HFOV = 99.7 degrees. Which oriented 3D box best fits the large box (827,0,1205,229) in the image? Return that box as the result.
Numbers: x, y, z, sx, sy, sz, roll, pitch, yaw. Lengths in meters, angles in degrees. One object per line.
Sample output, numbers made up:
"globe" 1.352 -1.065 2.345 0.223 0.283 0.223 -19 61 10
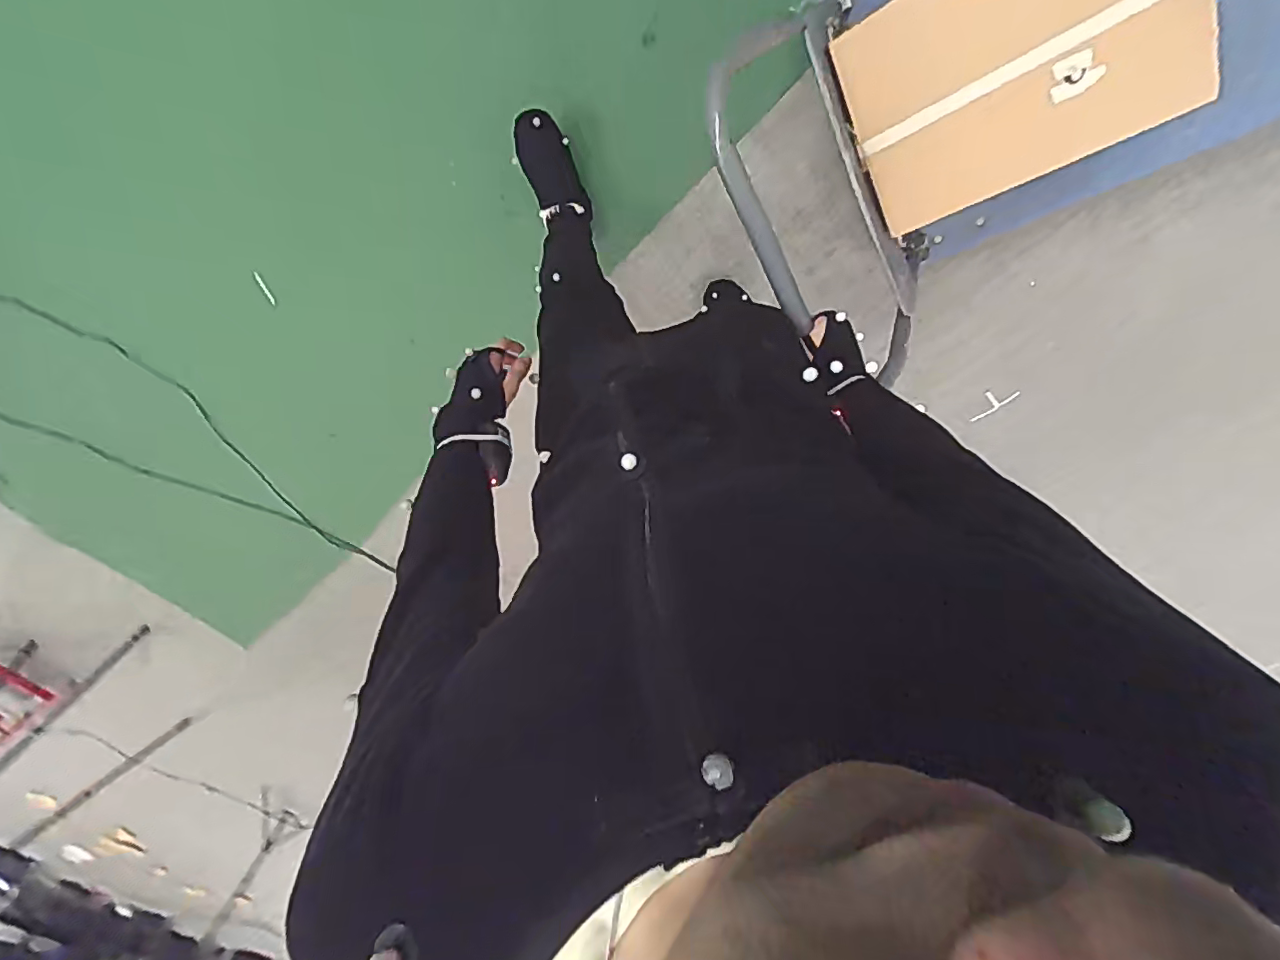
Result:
"large box" 0.561 -0.681 0.868 0.408 0.320 0.320 -15 122 35
